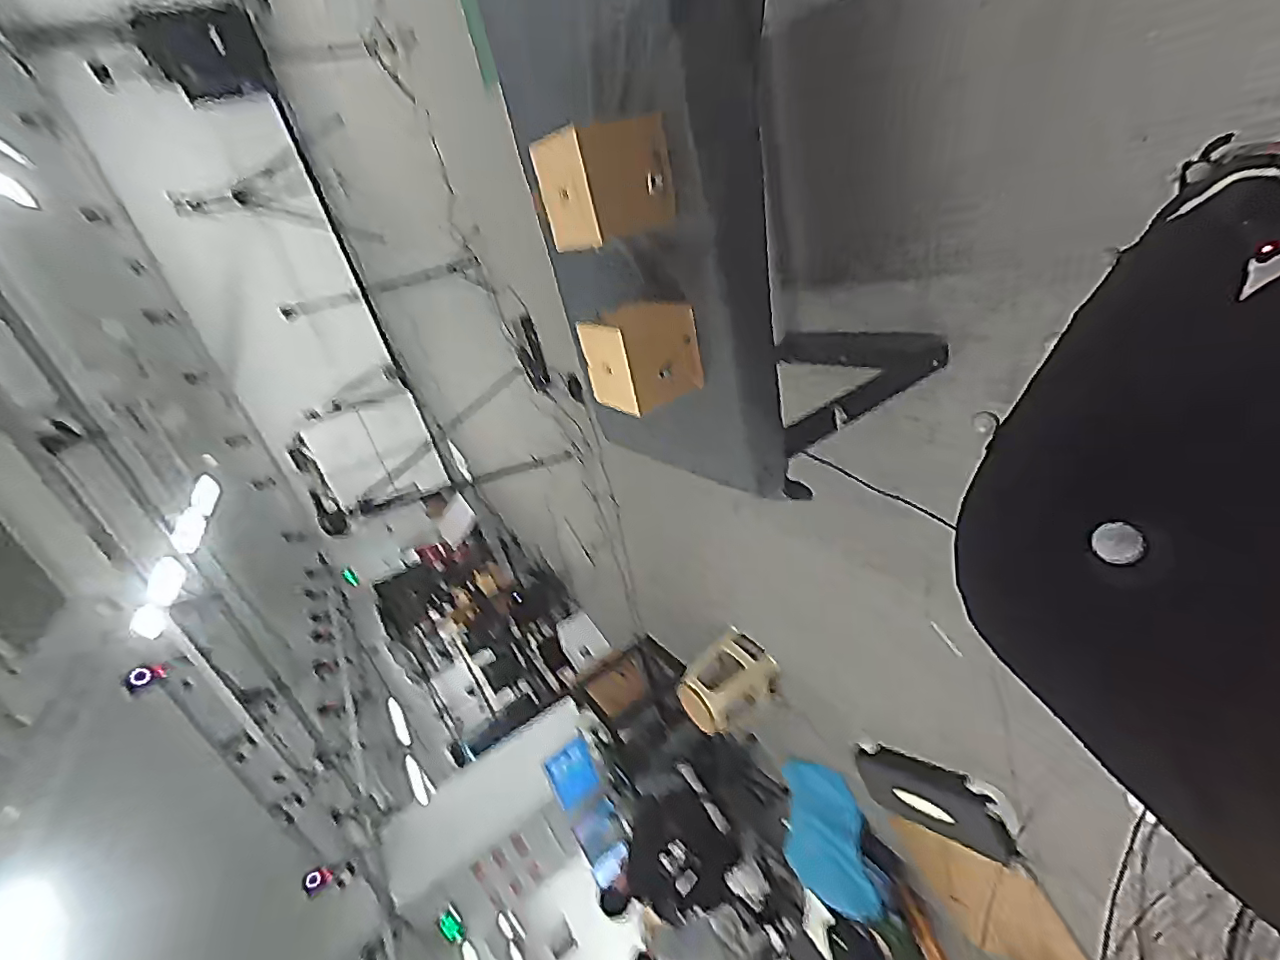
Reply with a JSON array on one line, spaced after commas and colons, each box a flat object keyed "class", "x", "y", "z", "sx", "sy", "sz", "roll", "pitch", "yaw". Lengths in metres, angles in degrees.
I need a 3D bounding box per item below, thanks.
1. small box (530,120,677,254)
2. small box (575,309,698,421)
[{"class": "small box", "x": -0.061, "y": -0.501, "z": 0.937, "sx": 0.179, "sy": 0.176, "sz": 0.168, "roll": 25, "pitch": 137, "yaw": 52}, {"class": "small box", "x": 0.000, "y": -0.236, "z": 1.077, "sx": 0.179, "sy": 0.176, "sz": 0.168, "roll": 27, "pitch": 137, "yaw": 53}]
